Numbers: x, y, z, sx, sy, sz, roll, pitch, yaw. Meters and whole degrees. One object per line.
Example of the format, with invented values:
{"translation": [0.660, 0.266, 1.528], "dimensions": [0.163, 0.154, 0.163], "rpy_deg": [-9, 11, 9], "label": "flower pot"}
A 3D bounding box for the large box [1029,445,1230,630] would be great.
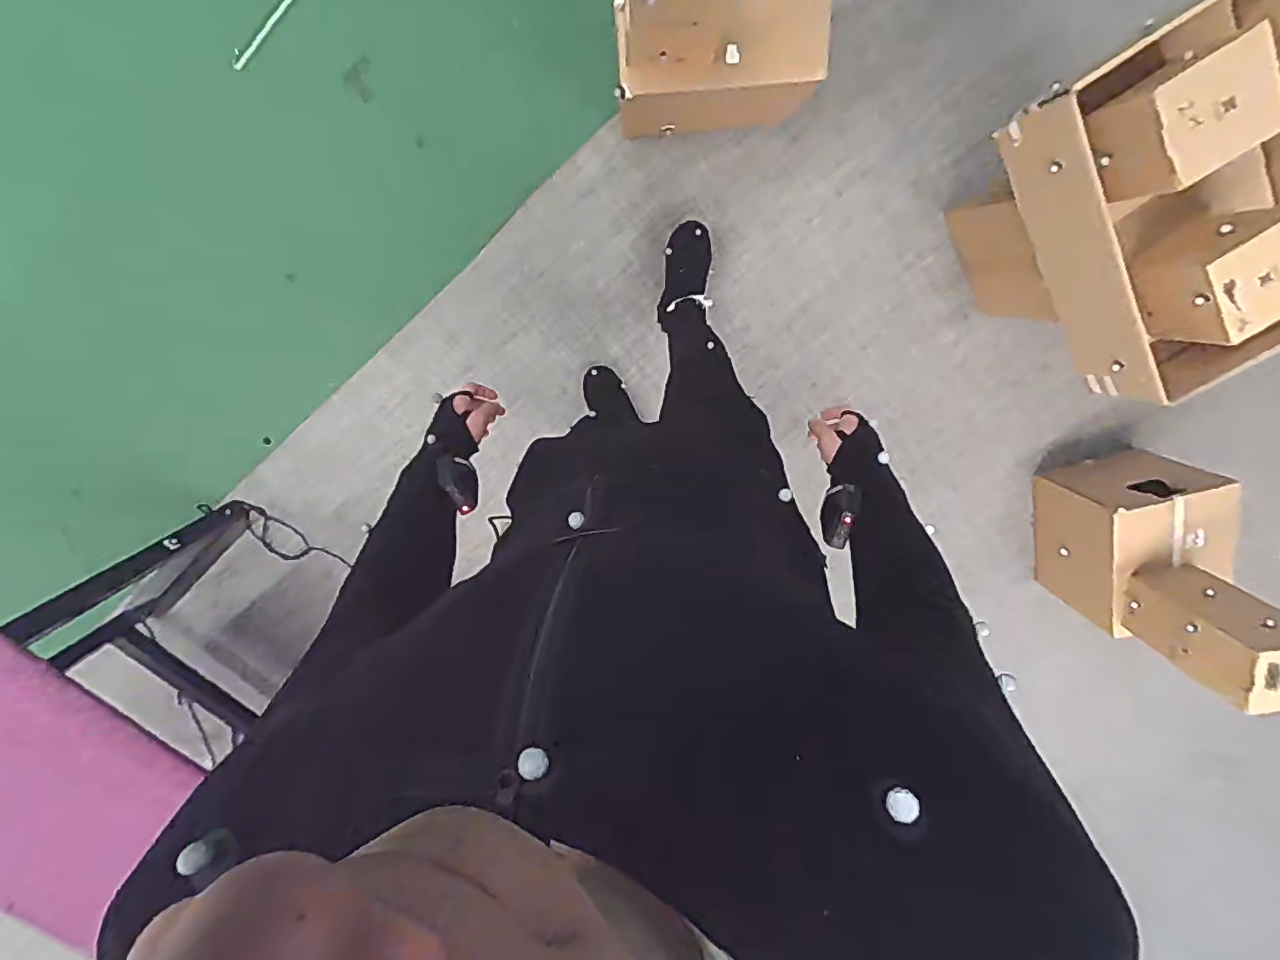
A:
{"translation": [1.403, 0.158, 1.582], "dimensions": [0.320, 0.320, 0.408], "rpy_deg": [-16, 109, 4], "label": "large box"}

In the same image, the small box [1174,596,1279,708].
{"translation": [1.385, 0.386, 1.230], "dimensions": [0.179, 0.176, 0.168], "rpy_deg": [-9, 109, 3], "label": "small box"}

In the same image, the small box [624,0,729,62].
{"translation": [0.057, -0.850, 0.923], "dimensions": [0.168, 0.176, 0.179], "rpy_deg": [-3, 112, -1], "label": "small box"}

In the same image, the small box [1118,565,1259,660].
{"translation": [1.393, 0.332, 1.385], "dimensions": [0.179, 0.176, 0.168], "rpy_deg": [-9, 109, 4], "label": "small box"}
